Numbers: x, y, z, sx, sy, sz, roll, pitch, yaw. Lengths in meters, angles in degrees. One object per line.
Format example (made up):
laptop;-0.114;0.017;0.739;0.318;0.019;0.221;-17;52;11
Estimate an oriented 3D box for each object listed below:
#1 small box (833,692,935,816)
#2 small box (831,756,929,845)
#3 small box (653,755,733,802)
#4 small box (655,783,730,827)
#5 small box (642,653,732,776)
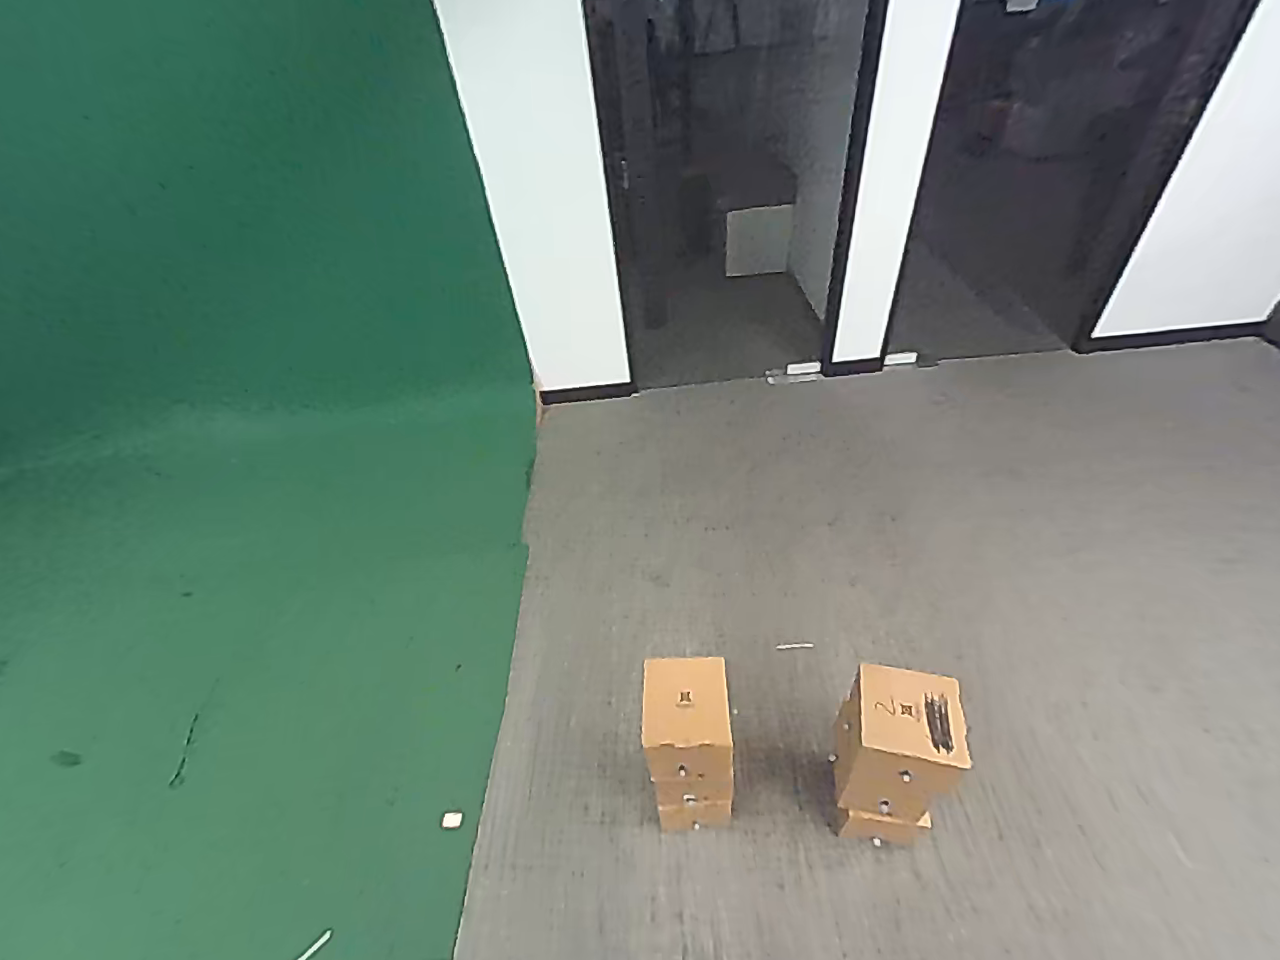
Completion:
small box;0.509;0.584;1.150;0.168;0.176;0.179;5;44;13
small box;0.542;0.711;1.249;0.168;0.176;0.179;2;44;11
small box;0.109;0.587;1.202;0.168;0.176;0.179;-7;43;1
small box;0.118;0.710;1.308;0.168;0.176;0.179;-7;42;0
small box;0.094;0.470;1.090;0.168;0.176;0.179;-3;42;5
